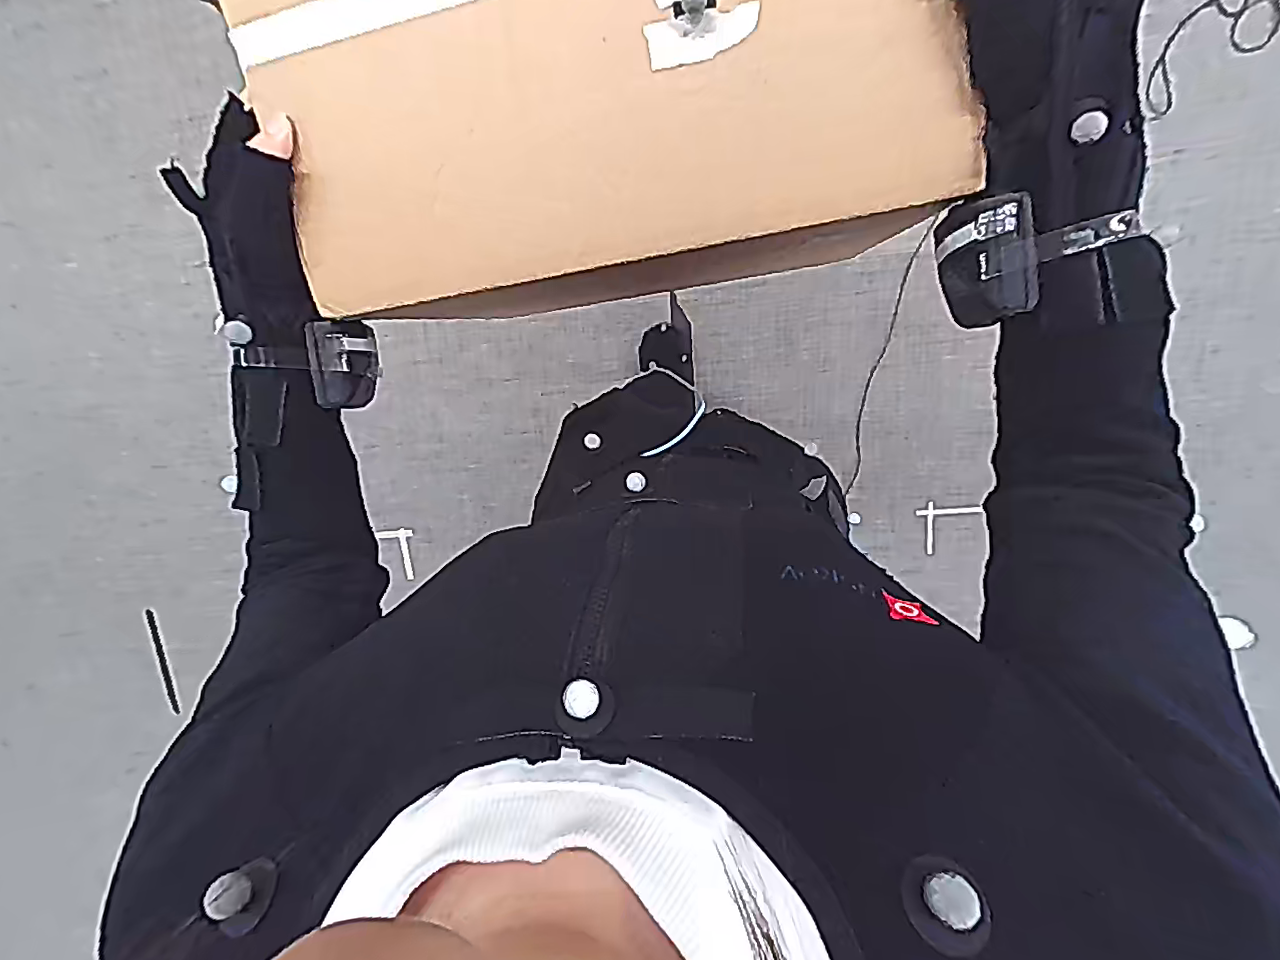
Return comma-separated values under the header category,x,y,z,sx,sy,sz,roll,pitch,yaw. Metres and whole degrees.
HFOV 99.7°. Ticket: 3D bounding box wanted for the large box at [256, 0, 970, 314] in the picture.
category,x,y,z,sx,sy,sz,roll,pitch,yaw
large box,-0.016,-0.331,0.439,0.408,0.320,0.320,-7,106,11
